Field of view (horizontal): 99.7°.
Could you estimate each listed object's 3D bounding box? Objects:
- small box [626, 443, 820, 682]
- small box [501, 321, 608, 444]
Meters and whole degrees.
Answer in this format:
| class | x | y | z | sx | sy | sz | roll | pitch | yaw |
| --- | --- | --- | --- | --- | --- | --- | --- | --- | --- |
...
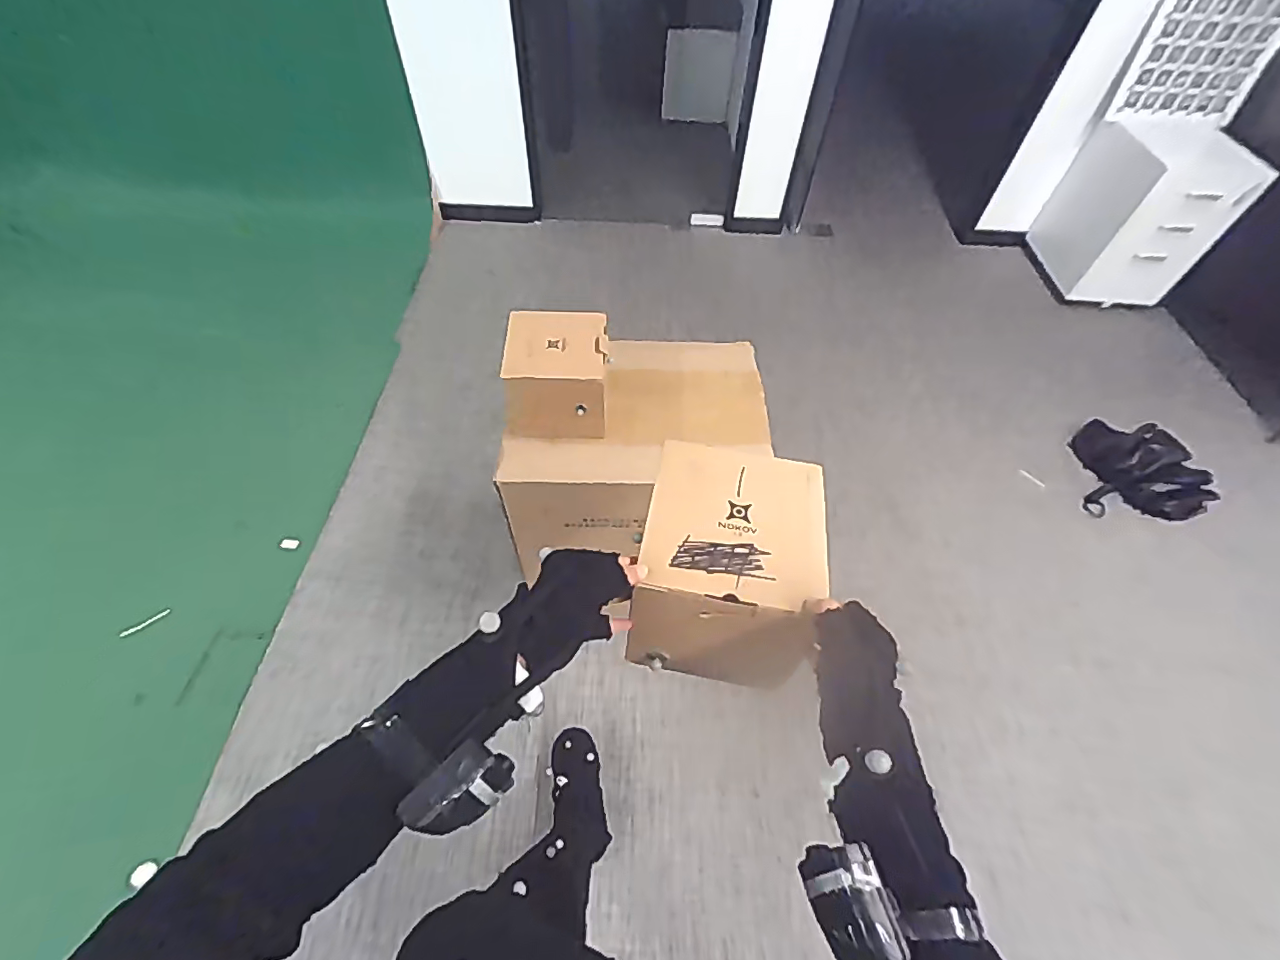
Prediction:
| class | x | y | z | sx | sy | sz | roll | pitch | yaw |
| --- | --- | --- | --- | --- | --- | --- | --- | --- | --- |
| small box | 0.082 | 0.089 | 0.567 | 0.168 | 0.176 | 0.179 | 9 | 48 | 4 |
| small box | -0.150 | -0.180 | 1.022 | 0.179 | 0.176 | 0.168 | -1 | 57 | -1 |
